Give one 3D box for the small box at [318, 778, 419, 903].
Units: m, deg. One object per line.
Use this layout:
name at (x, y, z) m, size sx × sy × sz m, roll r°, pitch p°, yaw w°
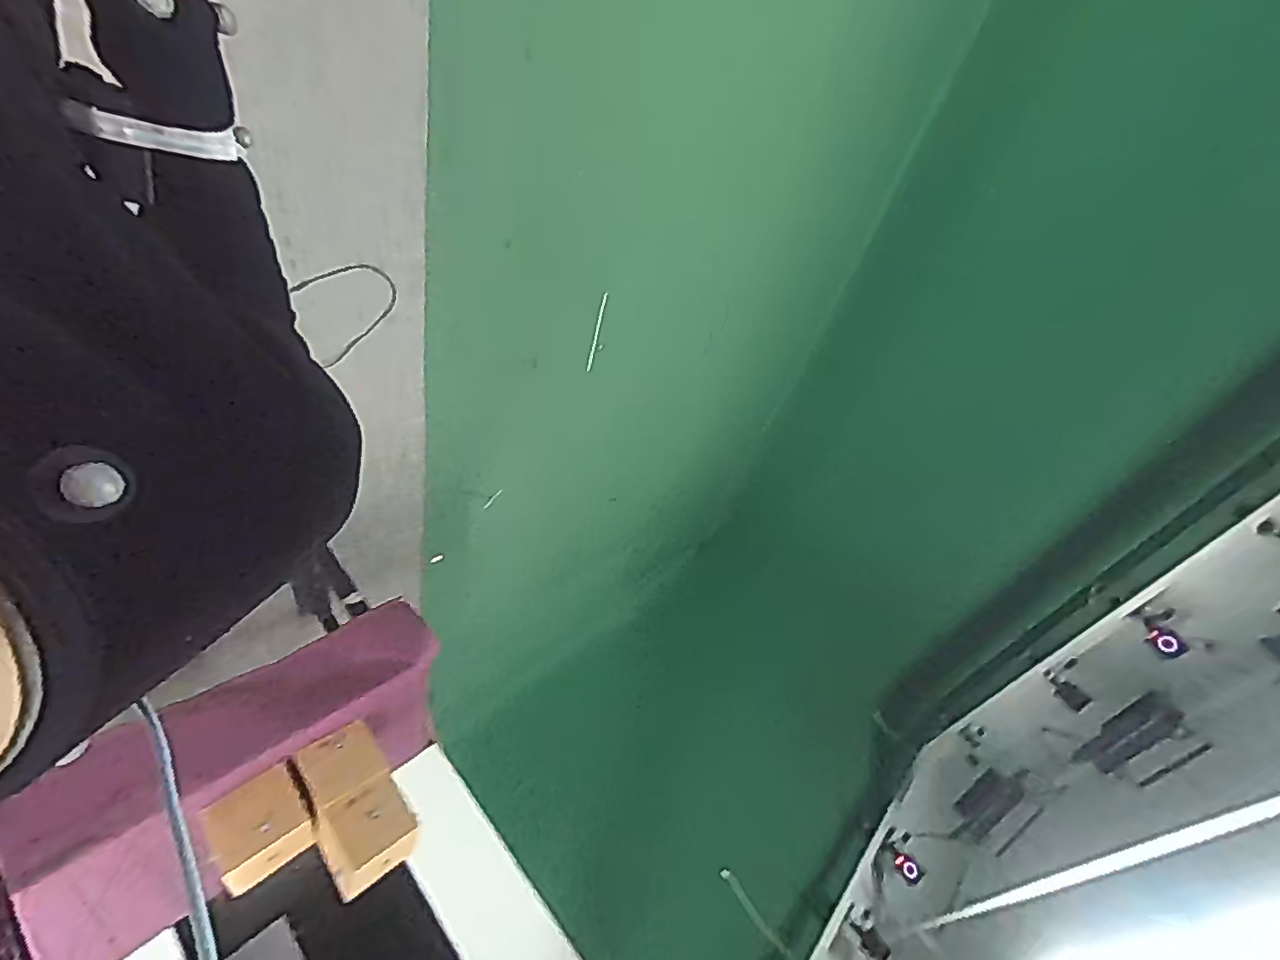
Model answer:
small box at (-0.680, 0.886, 1.347) m, size 0.168 × 0.176 × 0.179 m, roll -17°, pitch 140°, yaw -49°
